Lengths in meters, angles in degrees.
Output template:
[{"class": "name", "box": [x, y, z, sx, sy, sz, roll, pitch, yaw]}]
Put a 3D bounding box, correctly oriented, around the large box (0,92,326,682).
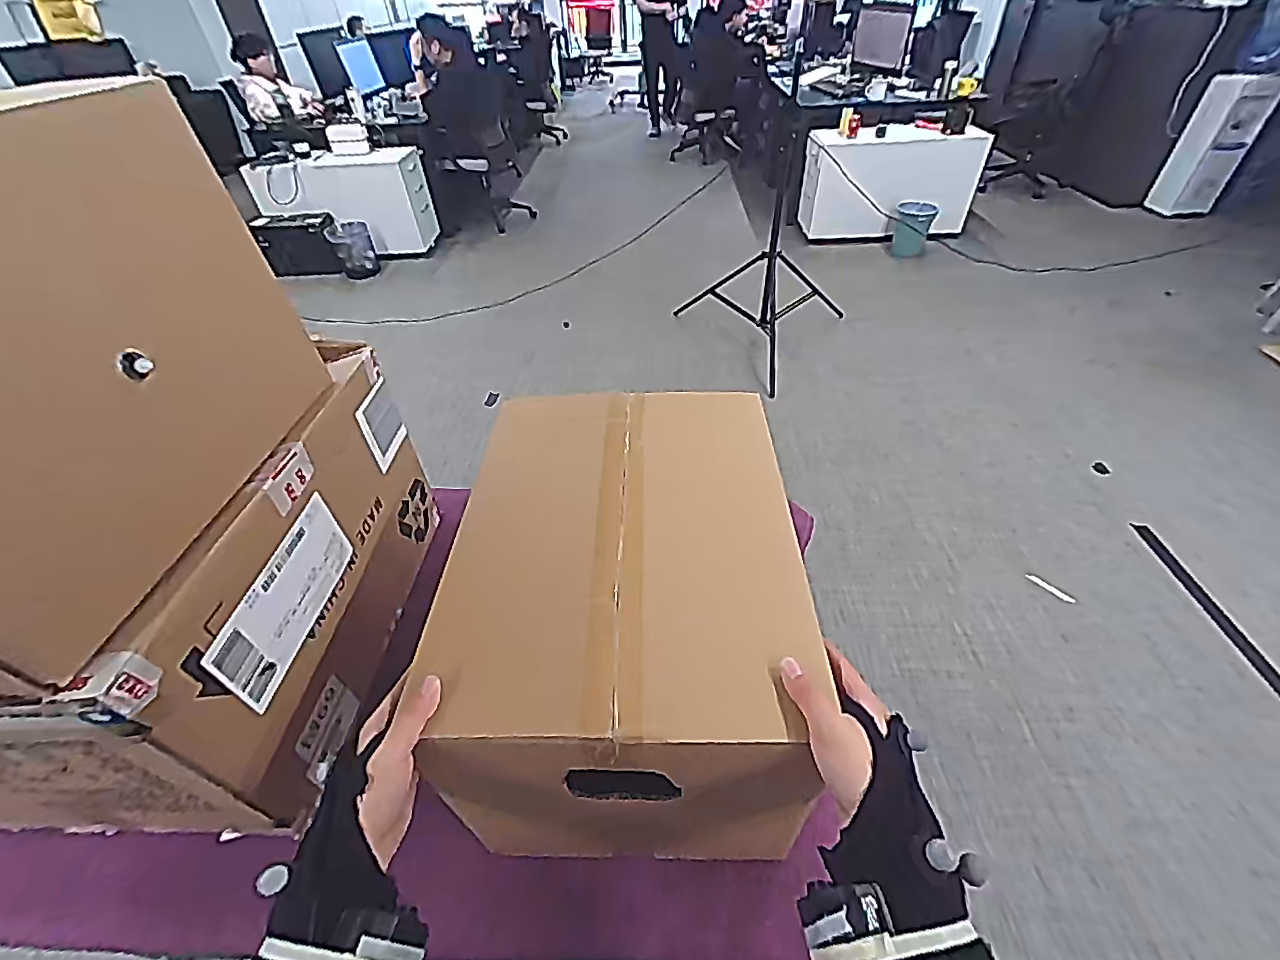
[{"class": "large box", "box": [-0.557, -0.091, 0.450, 0.320, 0.320, 0.408, -3, 43, 7]}]
